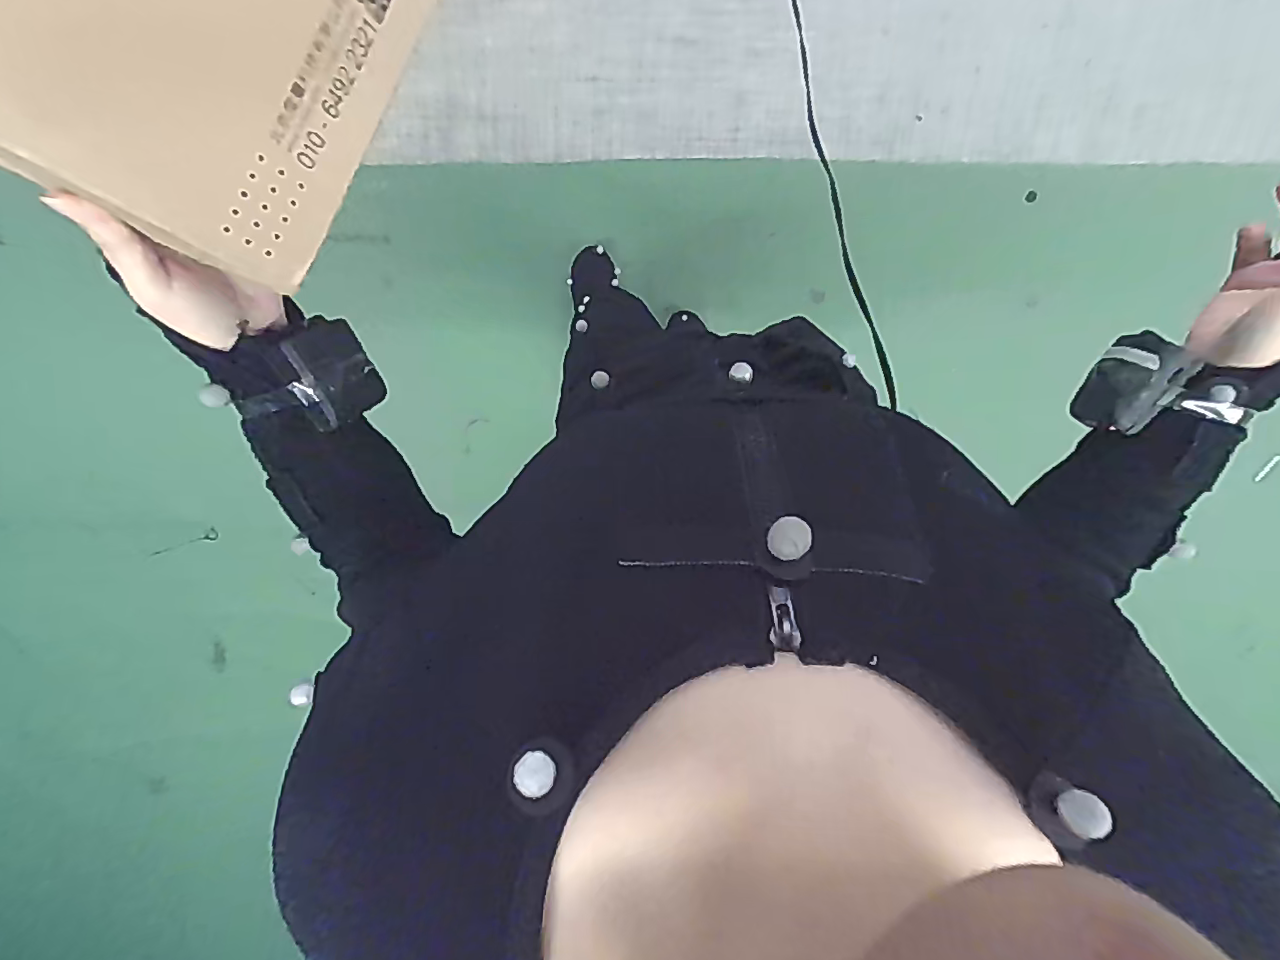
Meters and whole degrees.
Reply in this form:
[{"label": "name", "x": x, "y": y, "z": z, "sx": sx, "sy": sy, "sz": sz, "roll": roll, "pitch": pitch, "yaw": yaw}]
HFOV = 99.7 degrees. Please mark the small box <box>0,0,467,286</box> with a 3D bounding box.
[{"label": "small box", "x": -0.189, "y": -0.187, "z": 0.178, "sx": 0.179, "sy": 0.176, "sz": 0.168, "roll": 24, "pitch": 90, "yaw": 31}]
